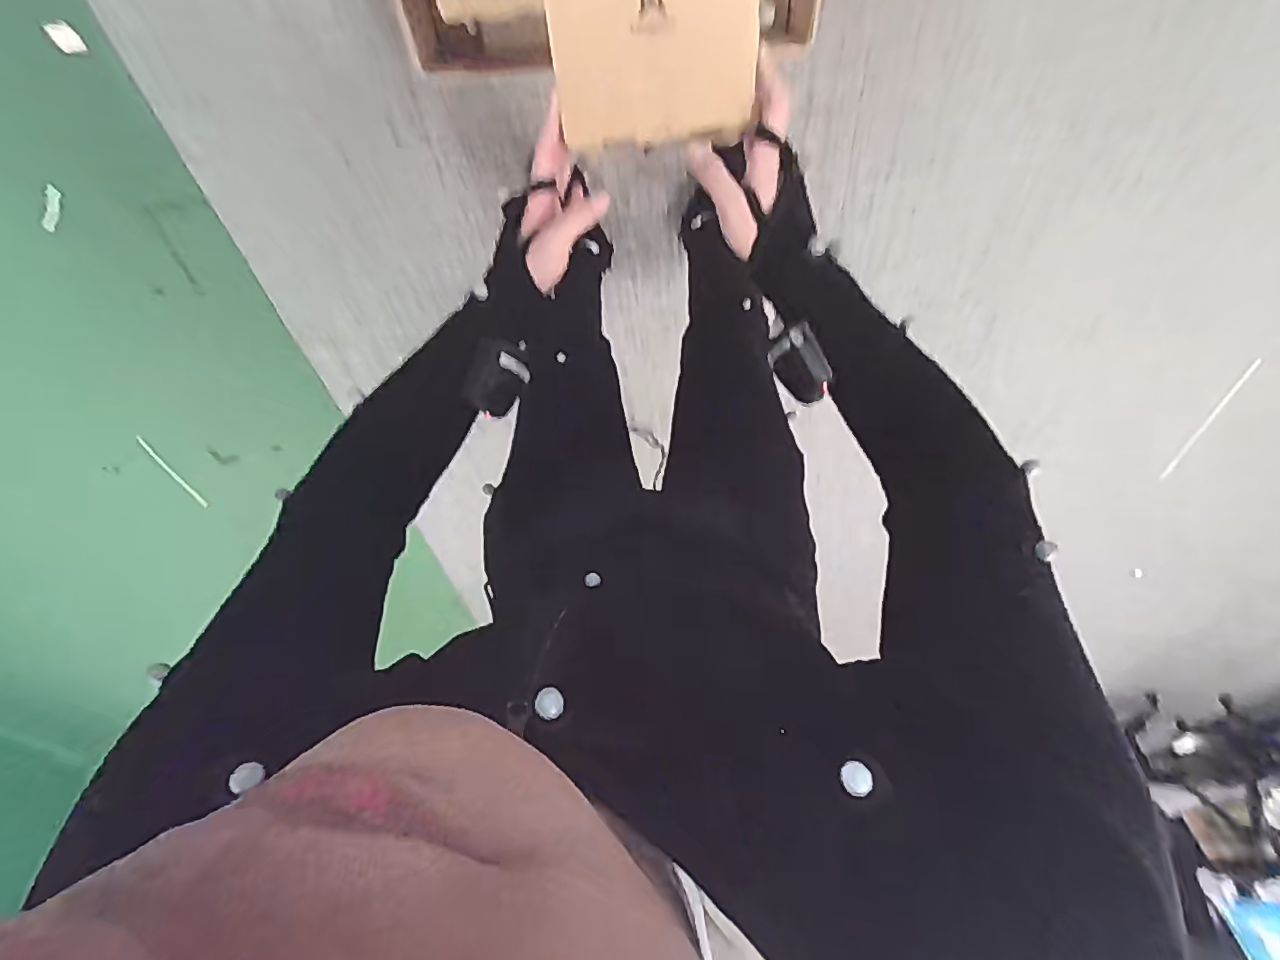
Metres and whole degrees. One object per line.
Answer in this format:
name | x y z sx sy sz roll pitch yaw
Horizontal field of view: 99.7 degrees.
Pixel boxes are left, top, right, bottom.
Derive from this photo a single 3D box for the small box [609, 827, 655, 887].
small box | -0.027 1.472 2.110 0.168 0.176 0.179 -4 135 3
